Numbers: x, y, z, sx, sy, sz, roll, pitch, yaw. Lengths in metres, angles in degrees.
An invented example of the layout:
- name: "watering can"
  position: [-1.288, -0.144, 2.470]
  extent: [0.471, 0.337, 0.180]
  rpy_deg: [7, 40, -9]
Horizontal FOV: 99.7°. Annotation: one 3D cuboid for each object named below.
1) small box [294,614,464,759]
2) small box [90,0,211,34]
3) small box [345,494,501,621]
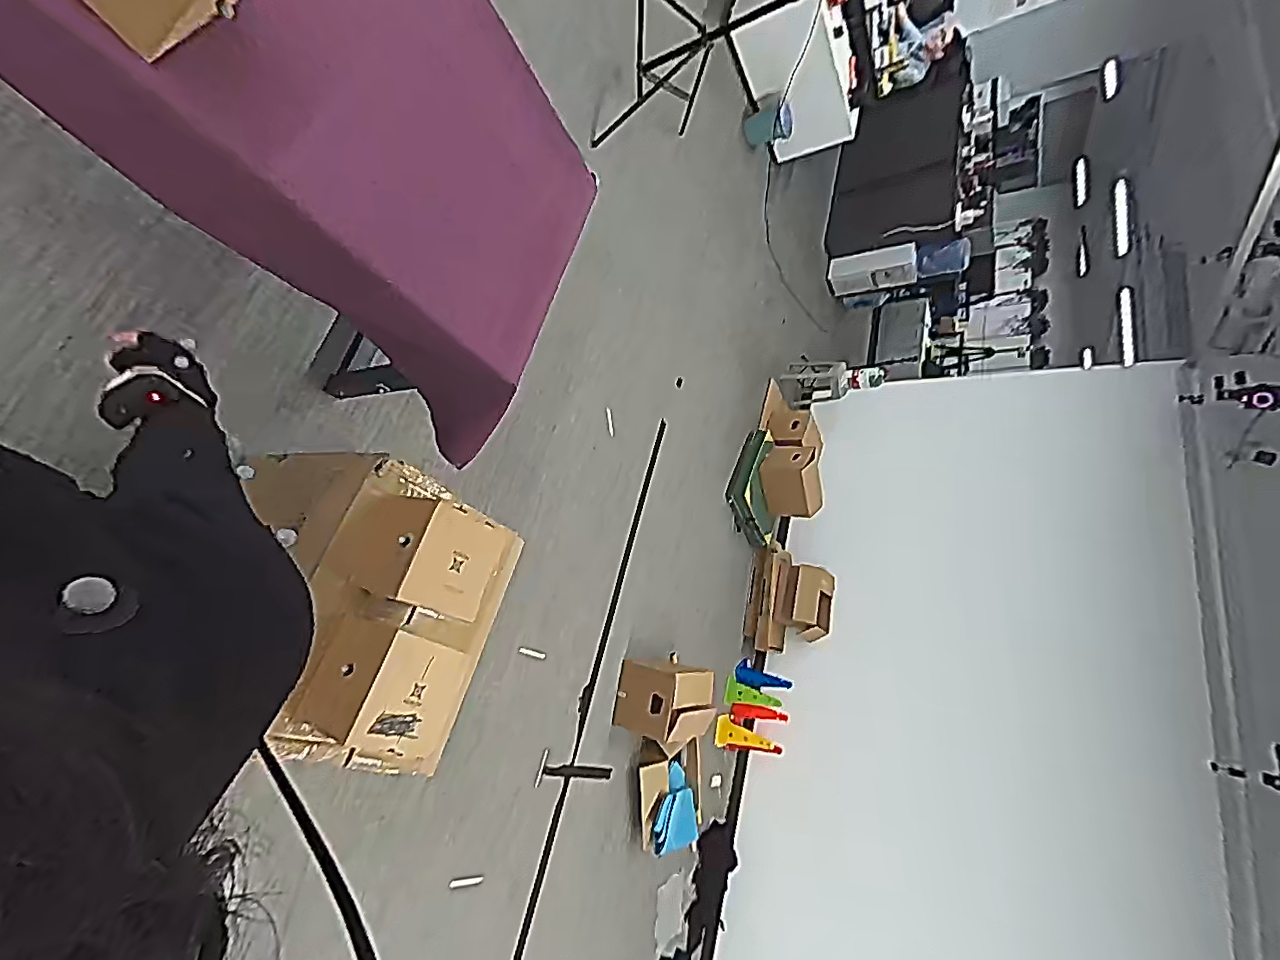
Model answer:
- name: "small box"
  position: [-0.439, 0.341, 0.907]
  extent: [0.168, 0.176, 0.179]
  rpy_deg: [46, 53, -46]
- name: "small box"
  position: [-0.525, -0.607, 0.555]
  extent: [0.179, 0.176, 0.168]
  rpy_deg: [50, 51, -46]
- name: "small box"
  position: [-0.390, 0.135, 0.974]
  extent: [0.168, 0.176, 0.179]
  rpy_deg: [41, 60, -47]
